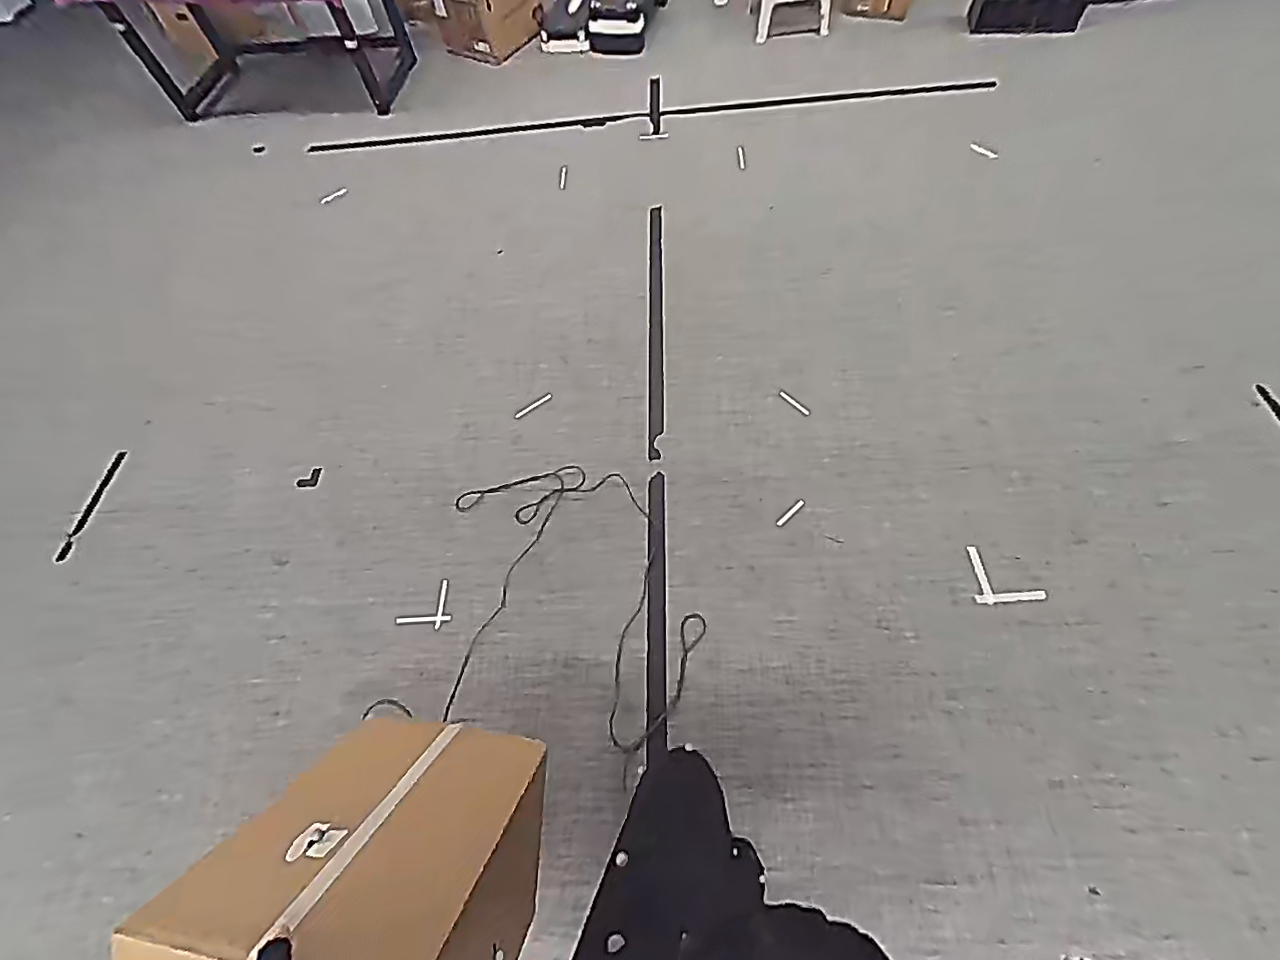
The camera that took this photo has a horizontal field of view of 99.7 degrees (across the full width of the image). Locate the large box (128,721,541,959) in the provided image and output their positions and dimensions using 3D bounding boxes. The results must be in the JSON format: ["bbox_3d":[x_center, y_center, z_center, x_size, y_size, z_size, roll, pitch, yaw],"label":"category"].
[{"bbox_3d":[-0.350,0.601,0.731,0.320,0.408,0.320,6,98,8],"label":"large box"}]
